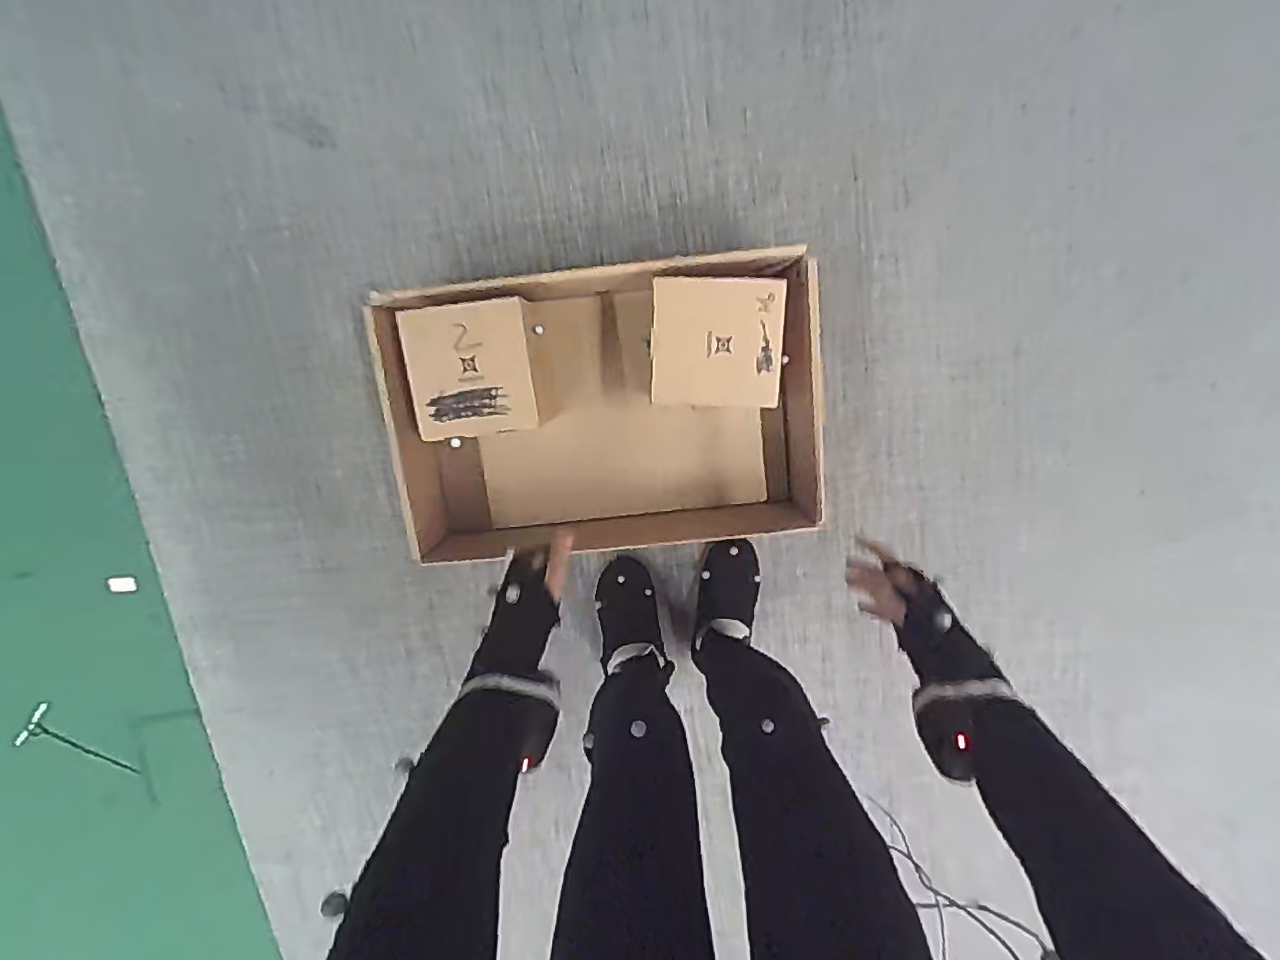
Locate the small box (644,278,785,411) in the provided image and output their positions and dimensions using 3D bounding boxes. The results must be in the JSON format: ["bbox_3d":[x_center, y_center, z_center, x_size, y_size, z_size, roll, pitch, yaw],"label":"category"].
[{"bbox_3d":[0.100,-0.194,0.792,0.179,0.176,0.168,3,103,2],"label":"small box"}]
